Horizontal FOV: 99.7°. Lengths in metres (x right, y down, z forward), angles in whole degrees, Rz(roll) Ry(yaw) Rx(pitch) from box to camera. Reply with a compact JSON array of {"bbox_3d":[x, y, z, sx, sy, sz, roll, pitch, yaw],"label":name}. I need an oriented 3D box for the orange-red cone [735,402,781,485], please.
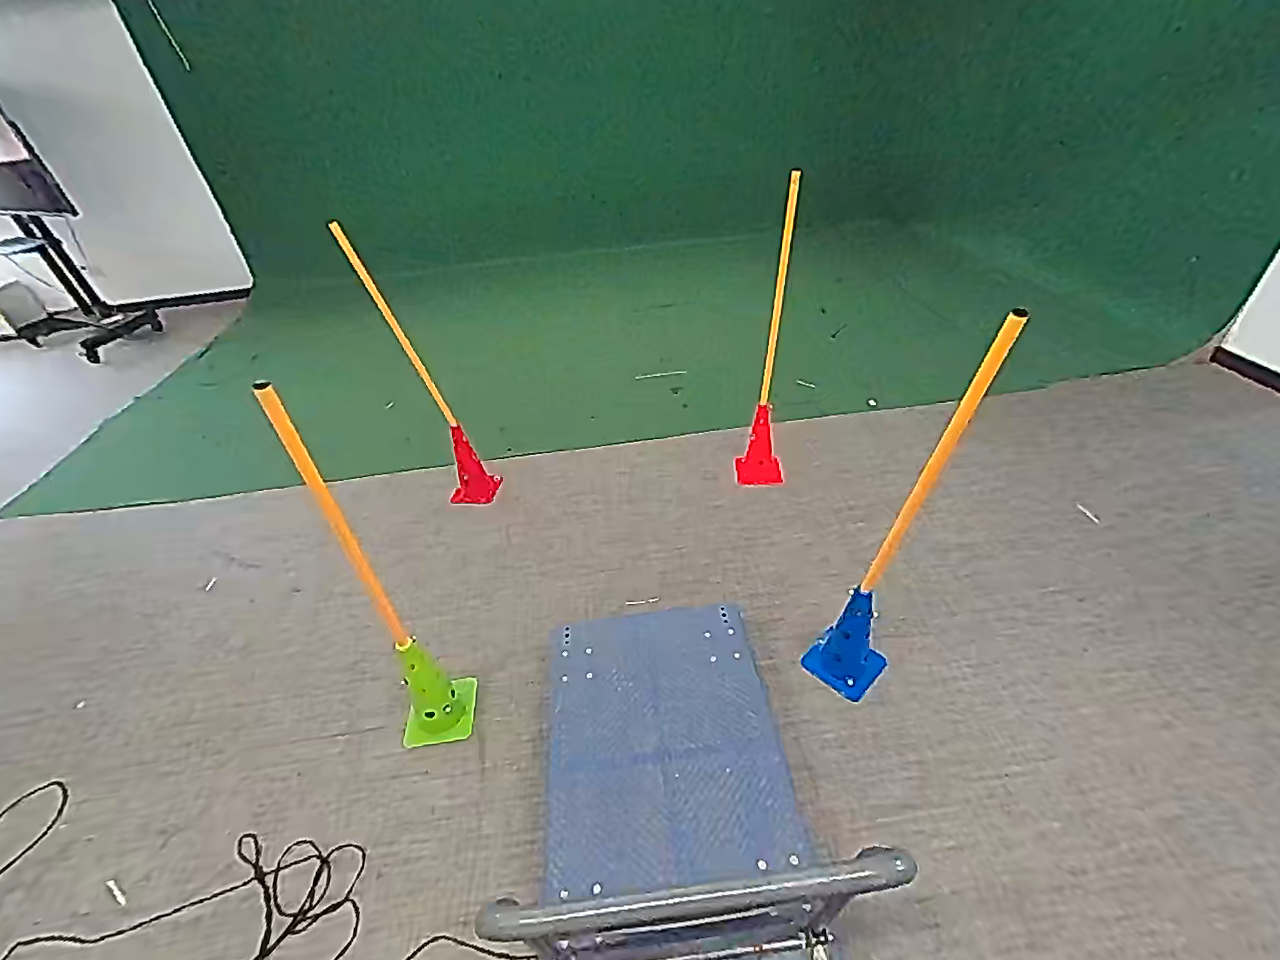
[{"bbox_3d":[0.515,-0.173,2.338,0.198,0.360,0.199,-1,40,7],"label":"orange-red cone"}]
